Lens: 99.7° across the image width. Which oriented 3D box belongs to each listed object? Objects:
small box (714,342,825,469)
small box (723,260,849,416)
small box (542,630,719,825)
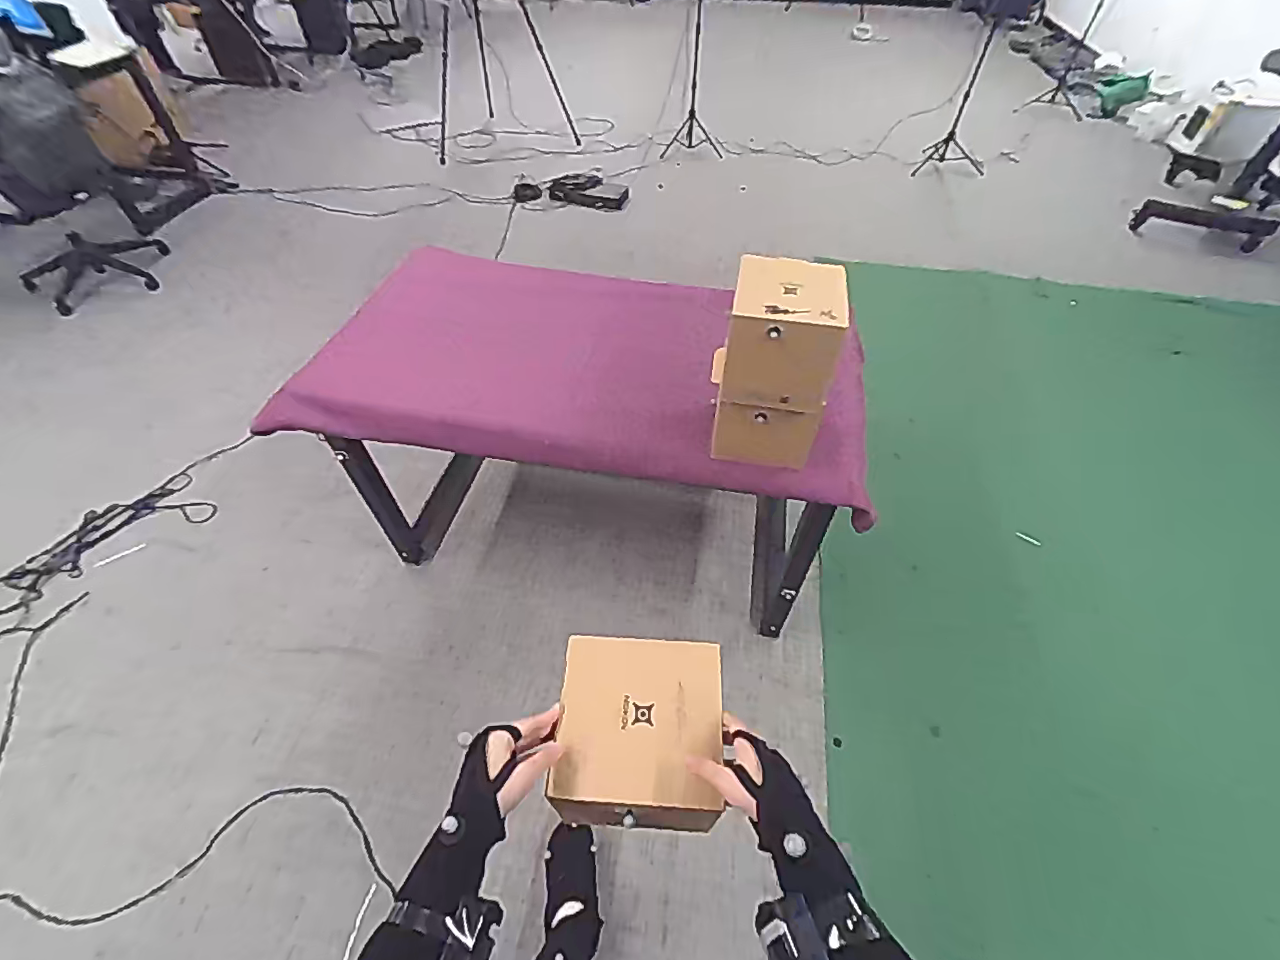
[{"bbox_3d":[0.237,-0.138,1.019,0.179,0.176,0.168,8,51,6],"label":"small box"},{"bbox_3d":[0.231,-0.231,0.882,0.168,0.176,0.179,9,50,8],"label":"small box"},{"bbox_3d":[-0.002,0.292,0.632,0.179,0.176,0.168,3,51,3],"label":"small box"}]
